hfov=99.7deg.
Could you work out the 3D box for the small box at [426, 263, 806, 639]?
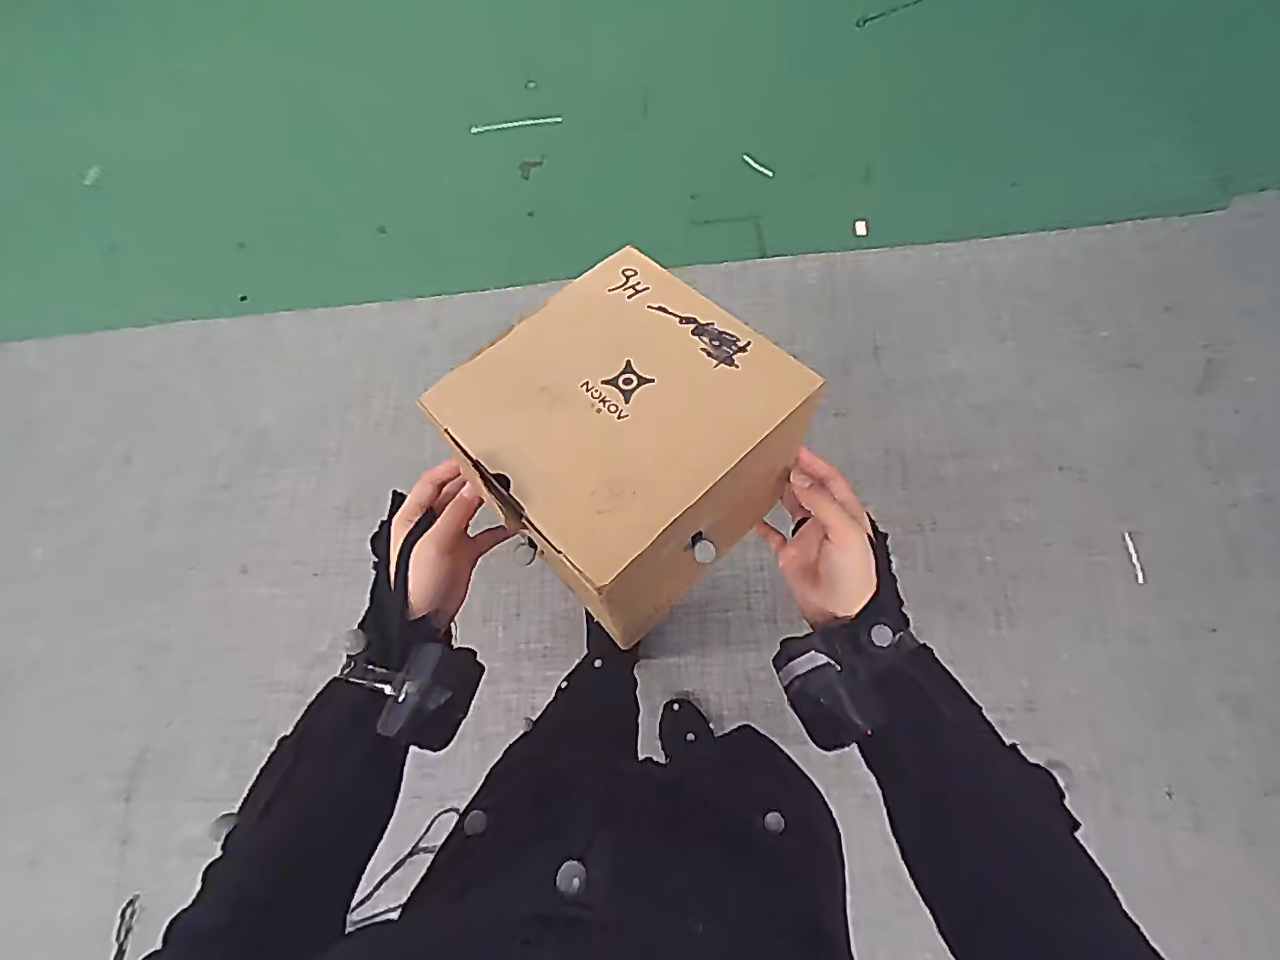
[{"bbox_3d":[-0.010,-0.010,0.394,0.179,0.176,0.168,-41,67,-15],"label":"small box"}]
